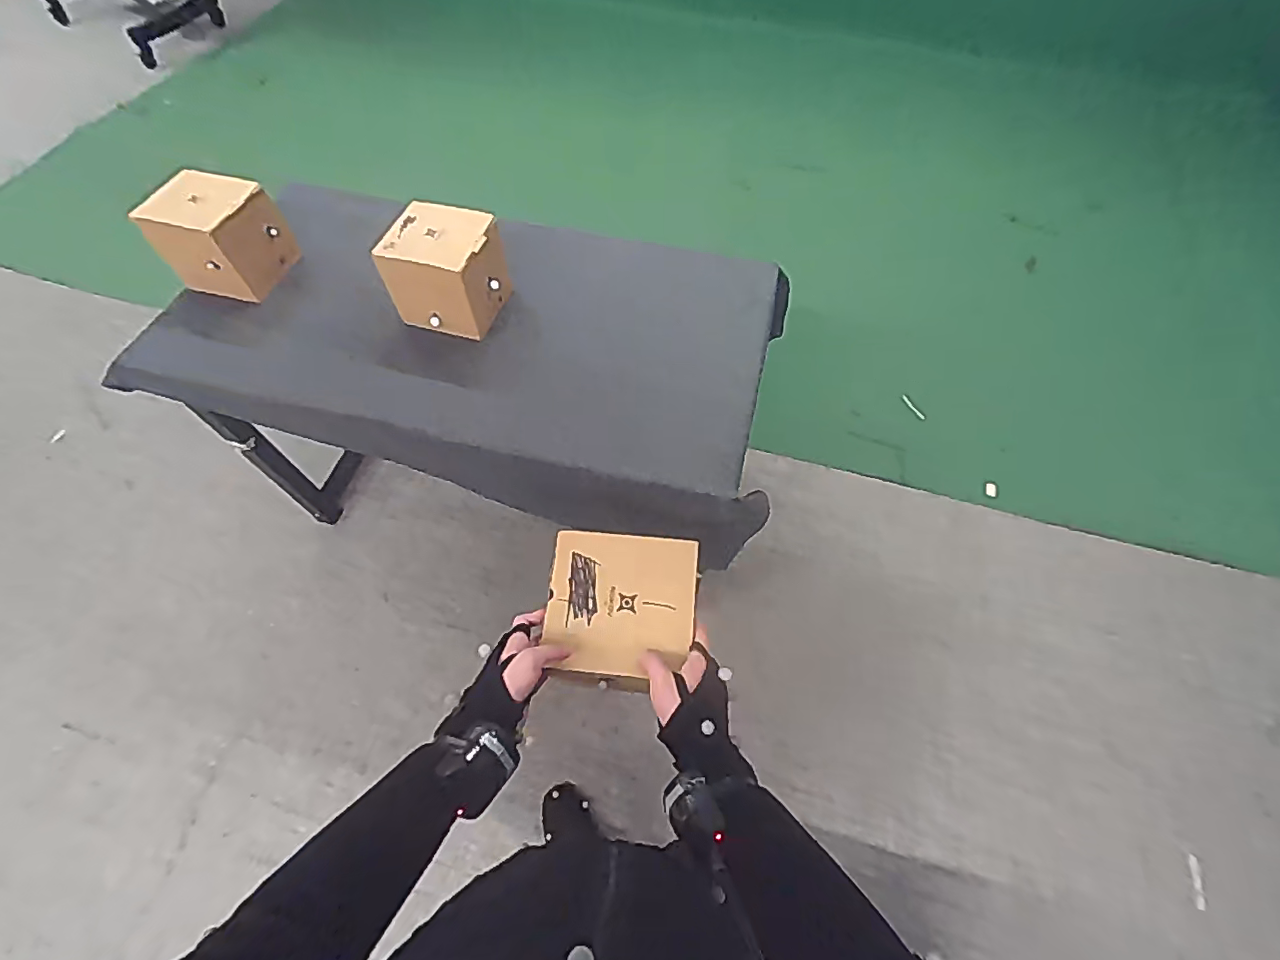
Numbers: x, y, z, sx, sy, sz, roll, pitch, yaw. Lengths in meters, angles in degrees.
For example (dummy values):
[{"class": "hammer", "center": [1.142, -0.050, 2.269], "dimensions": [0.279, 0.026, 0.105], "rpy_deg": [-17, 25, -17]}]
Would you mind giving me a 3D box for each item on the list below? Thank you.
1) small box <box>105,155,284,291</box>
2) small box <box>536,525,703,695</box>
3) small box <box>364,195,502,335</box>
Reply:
[{"class": "small box", "center": [-0.852, -0.497, 1.059], "dimensions": [0.179, 0.176, 0.168], "rpy_deg": [12, 57, 5]}, {"class": "small box", "center": [-0.020, 0.170, 0.684], "dimensions": [0.179, 0.176, 0.168], "rpy_deg": [6, 63, 1]}, {"class": "small box", "center": [-0.380, -0.405, 1.036], "dimensions": [0.179, 0.176, 0.168], "rpy_deg": [15, 59, 4]}]
